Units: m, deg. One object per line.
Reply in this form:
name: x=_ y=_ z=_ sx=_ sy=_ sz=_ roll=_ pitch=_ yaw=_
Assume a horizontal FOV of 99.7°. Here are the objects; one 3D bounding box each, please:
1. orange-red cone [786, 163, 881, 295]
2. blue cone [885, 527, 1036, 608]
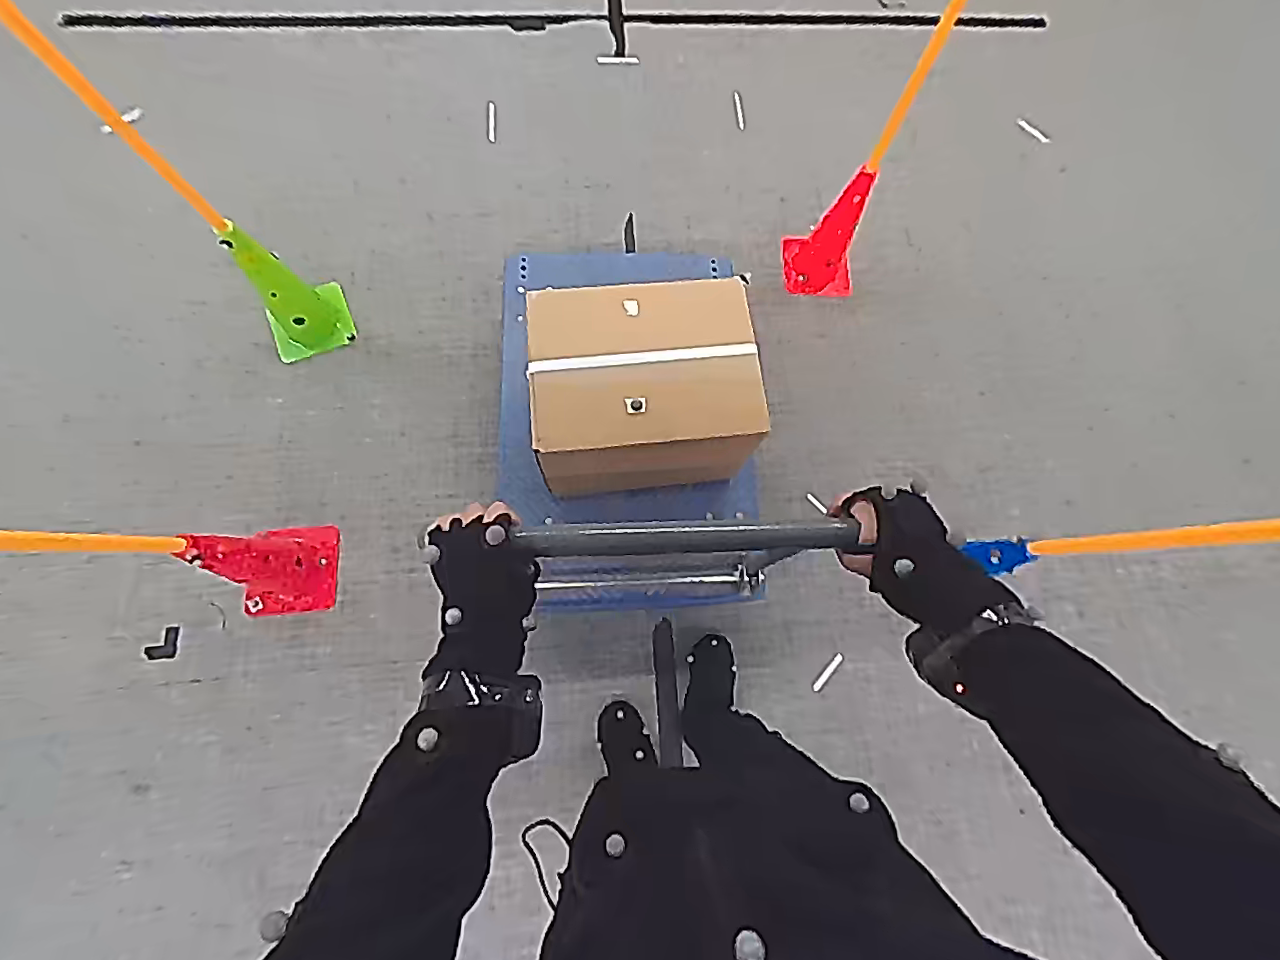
orange-red cone: x=0.543 y=-0.687 z=1.443 sx=0.199 sy=0.360 sz=0.198 roll=3 pitch=74 yaw=-4
blue cone: x=0.741 y=0.173 z=1.217 sx=0.193 sy=0.380 sz=0.192 roll=-7 pitch=73 yaw=-6
